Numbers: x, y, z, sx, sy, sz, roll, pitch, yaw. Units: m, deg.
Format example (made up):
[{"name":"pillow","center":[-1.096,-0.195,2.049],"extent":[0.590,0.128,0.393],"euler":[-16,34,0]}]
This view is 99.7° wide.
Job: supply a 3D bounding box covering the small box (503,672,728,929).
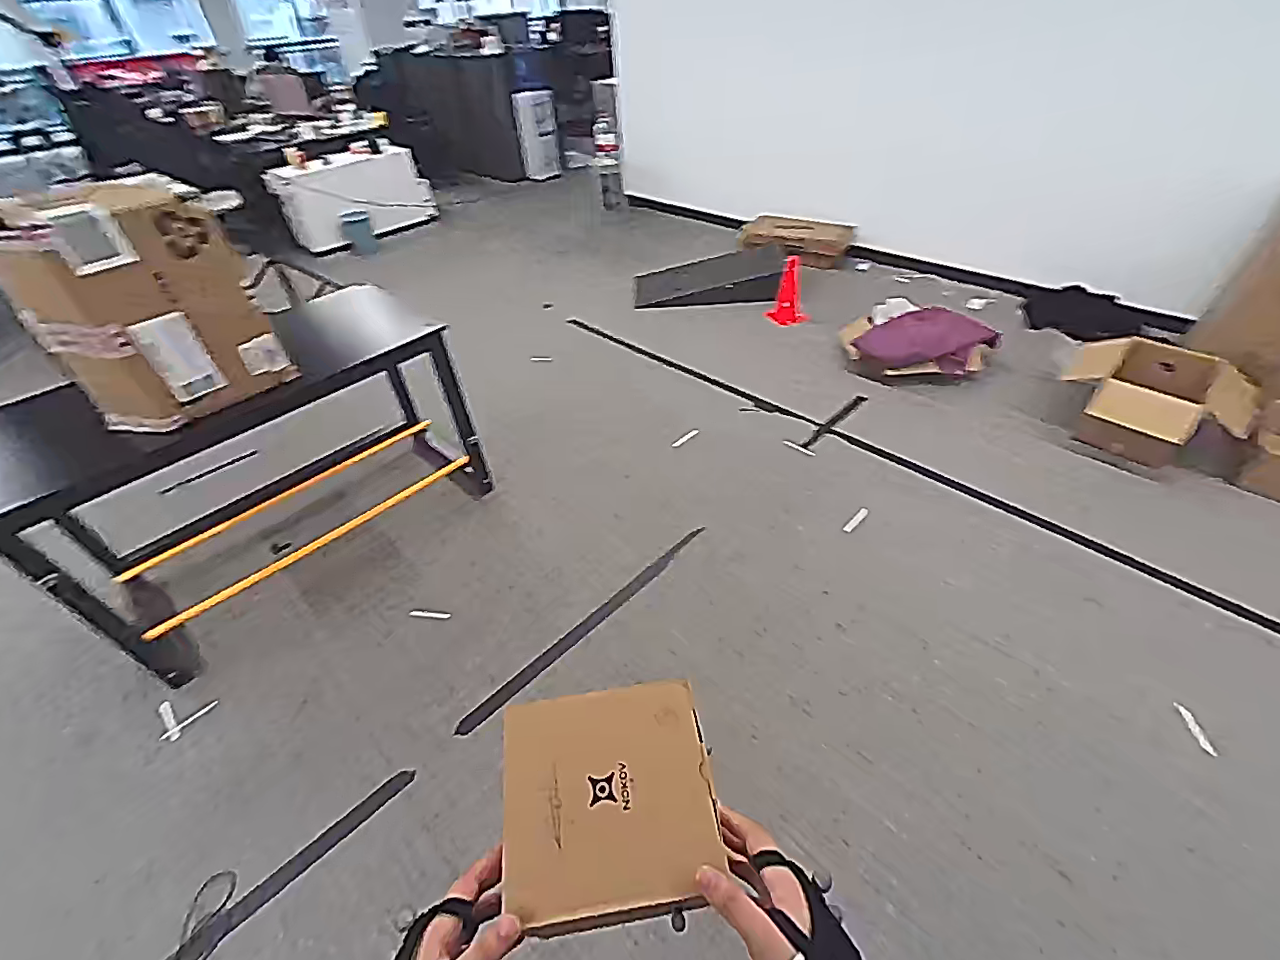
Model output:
[{"name":"small box","center":[-0.026,0.309,0.521],"extent":[0.179,0.176,0.168],"euler":[-10,48,-4]}]
